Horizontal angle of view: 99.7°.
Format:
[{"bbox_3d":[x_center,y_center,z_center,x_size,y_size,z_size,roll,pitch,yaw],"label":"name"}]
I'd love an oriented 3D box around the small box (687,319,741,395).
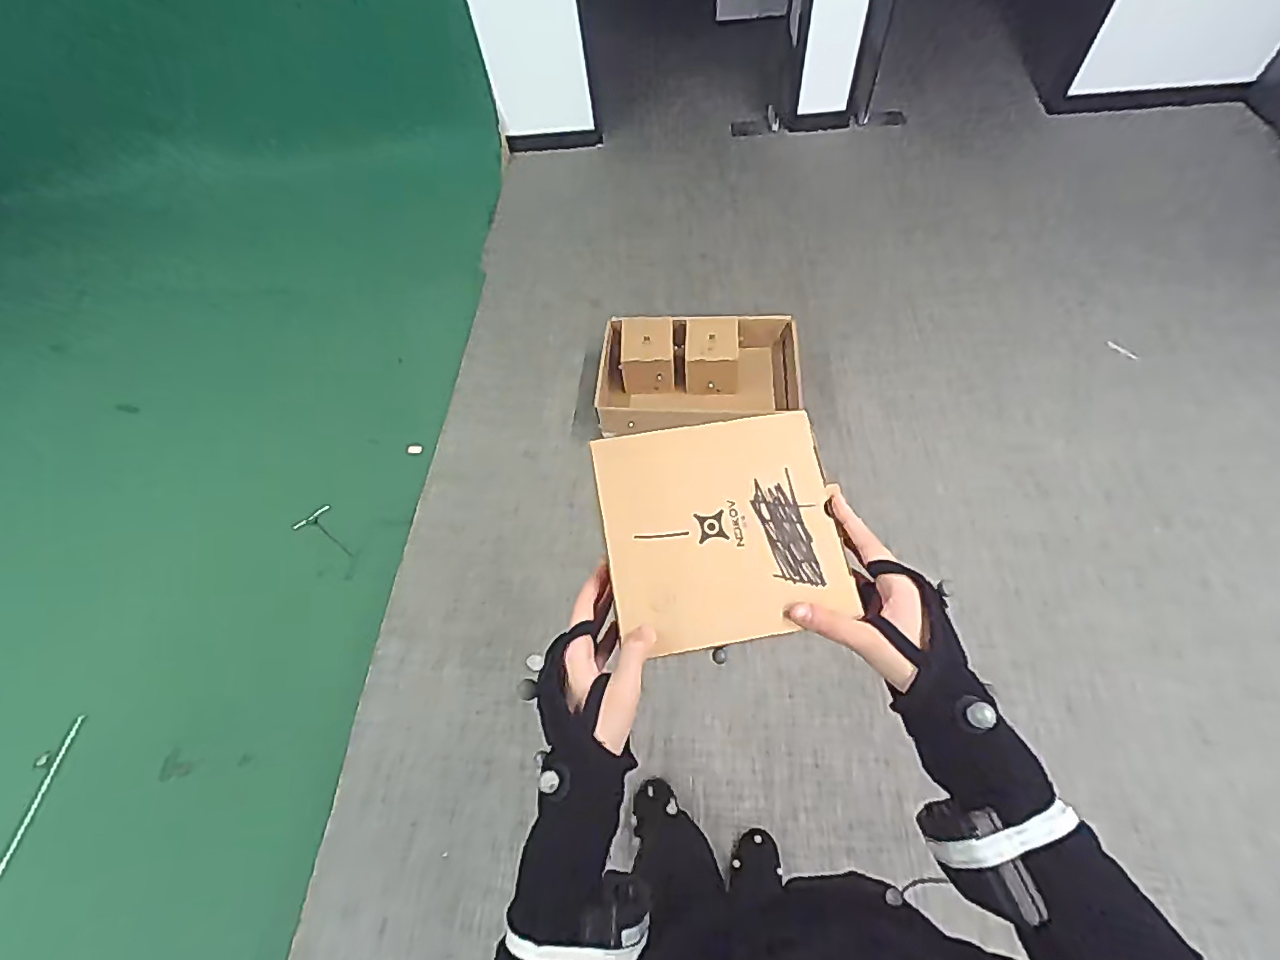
[{"bbox_3d":[0.241,-0.398,1.756,0.168,0.176,0.179,0,60,9],"label":"small box"}]
